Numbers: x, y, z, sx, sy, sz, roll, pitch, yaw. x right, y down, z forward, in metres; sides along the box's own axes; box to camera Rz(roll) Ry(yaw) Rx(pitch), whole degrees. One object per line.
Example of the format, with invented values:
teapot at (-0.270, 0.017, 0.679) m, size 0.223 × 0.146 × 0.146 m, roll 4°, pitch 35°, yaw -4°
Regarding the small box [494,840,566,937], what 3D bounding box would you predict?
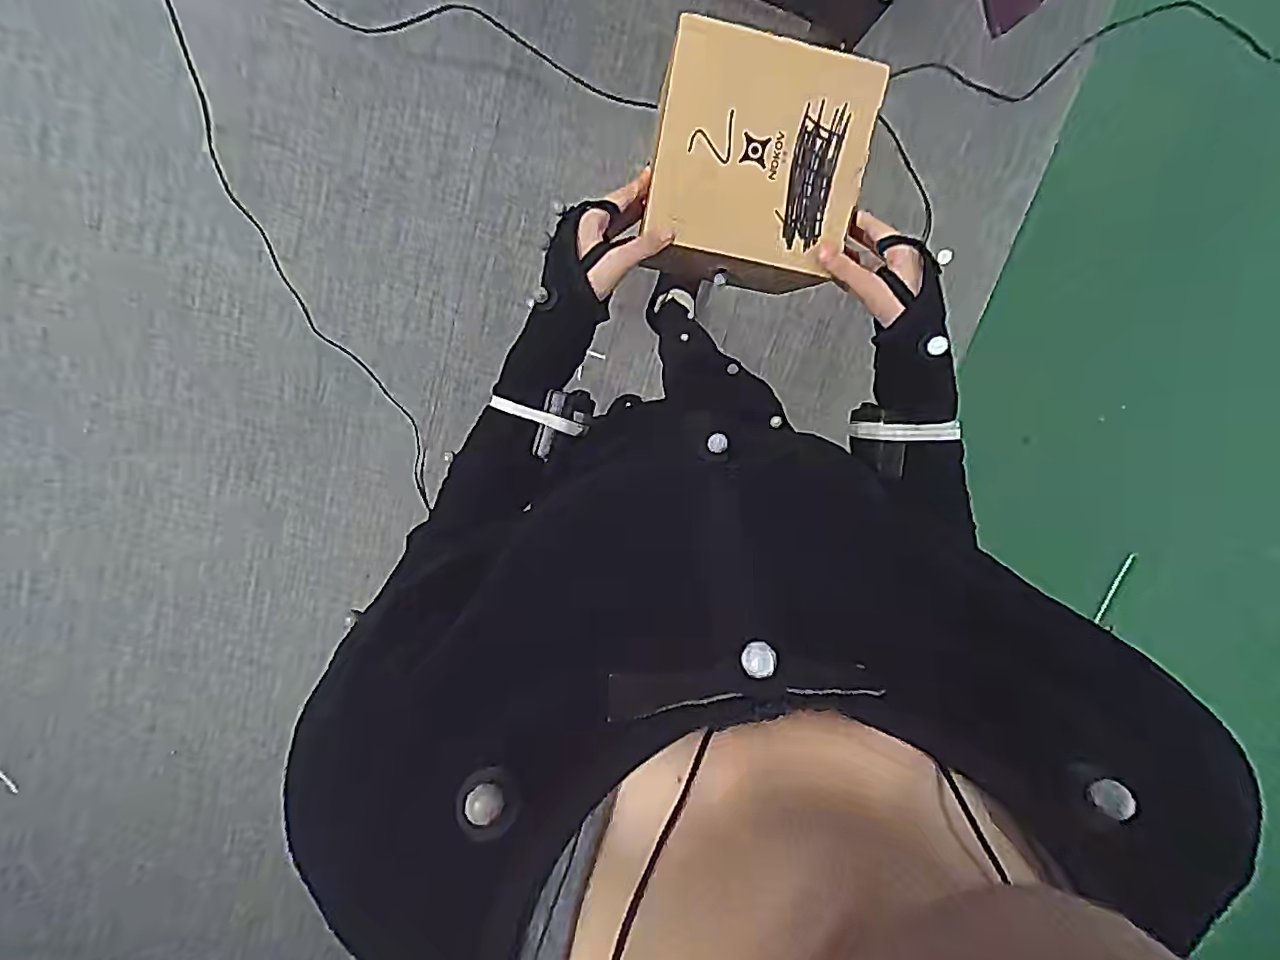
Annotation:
small box at (-0.338, 1.269, 1.690) m, size 0.179 × 0.176 × 0.168 m, roll 15°, pitch 102°, yaw -8°
